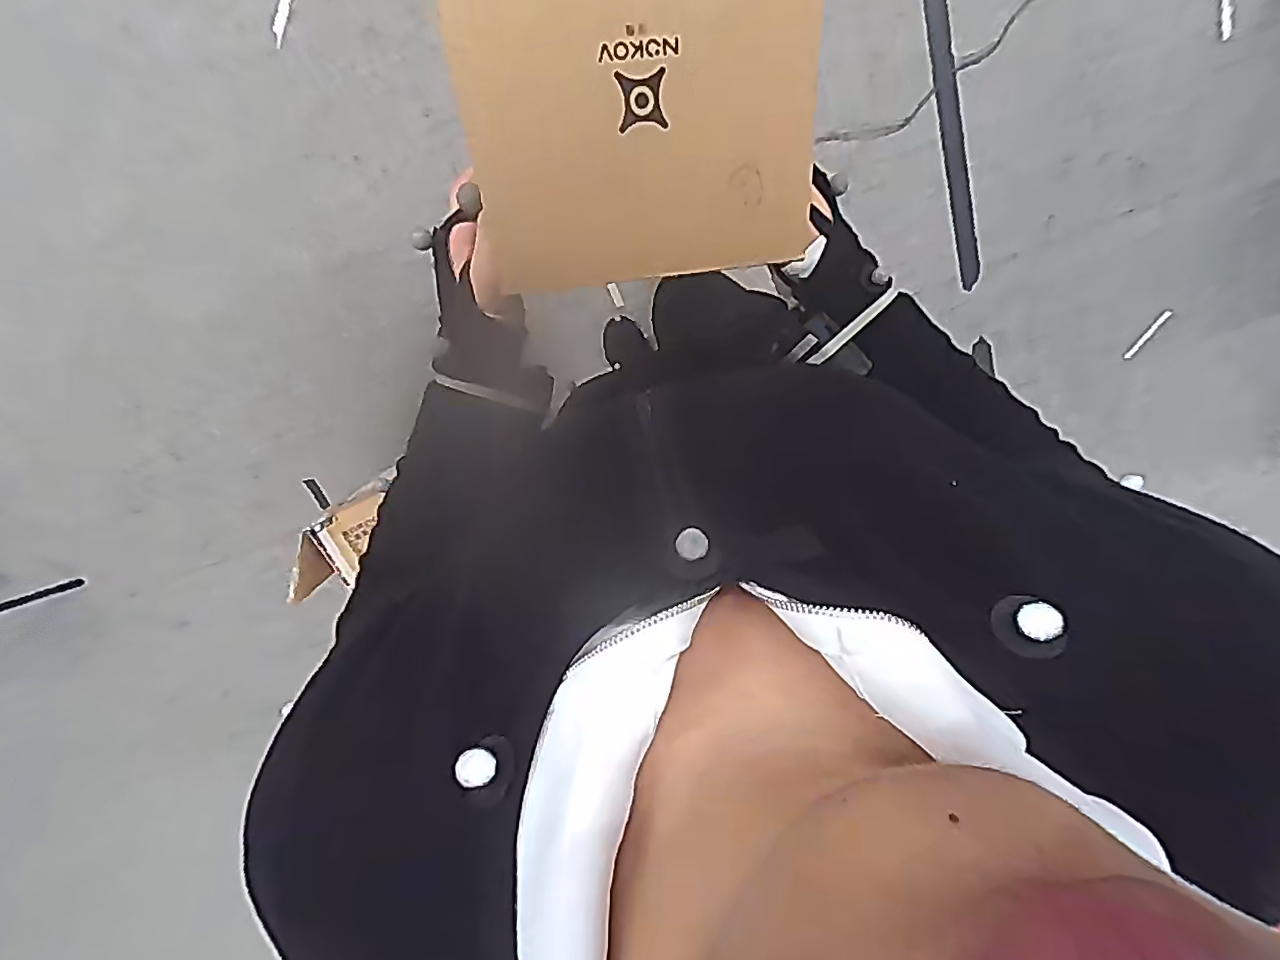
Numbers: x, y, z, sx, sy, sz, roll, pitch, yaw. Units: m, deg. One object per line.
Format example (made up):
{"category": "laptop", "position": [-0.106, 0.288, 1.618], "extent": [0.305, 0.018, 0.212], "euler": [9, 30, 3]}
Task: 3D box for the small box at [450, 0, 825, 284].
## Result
{"category": "small box", "position": [-0.007, -0.228, 0.314], "extent": [0.168, 0.176, 0.179], "euler": [-8, 121, -4]}
